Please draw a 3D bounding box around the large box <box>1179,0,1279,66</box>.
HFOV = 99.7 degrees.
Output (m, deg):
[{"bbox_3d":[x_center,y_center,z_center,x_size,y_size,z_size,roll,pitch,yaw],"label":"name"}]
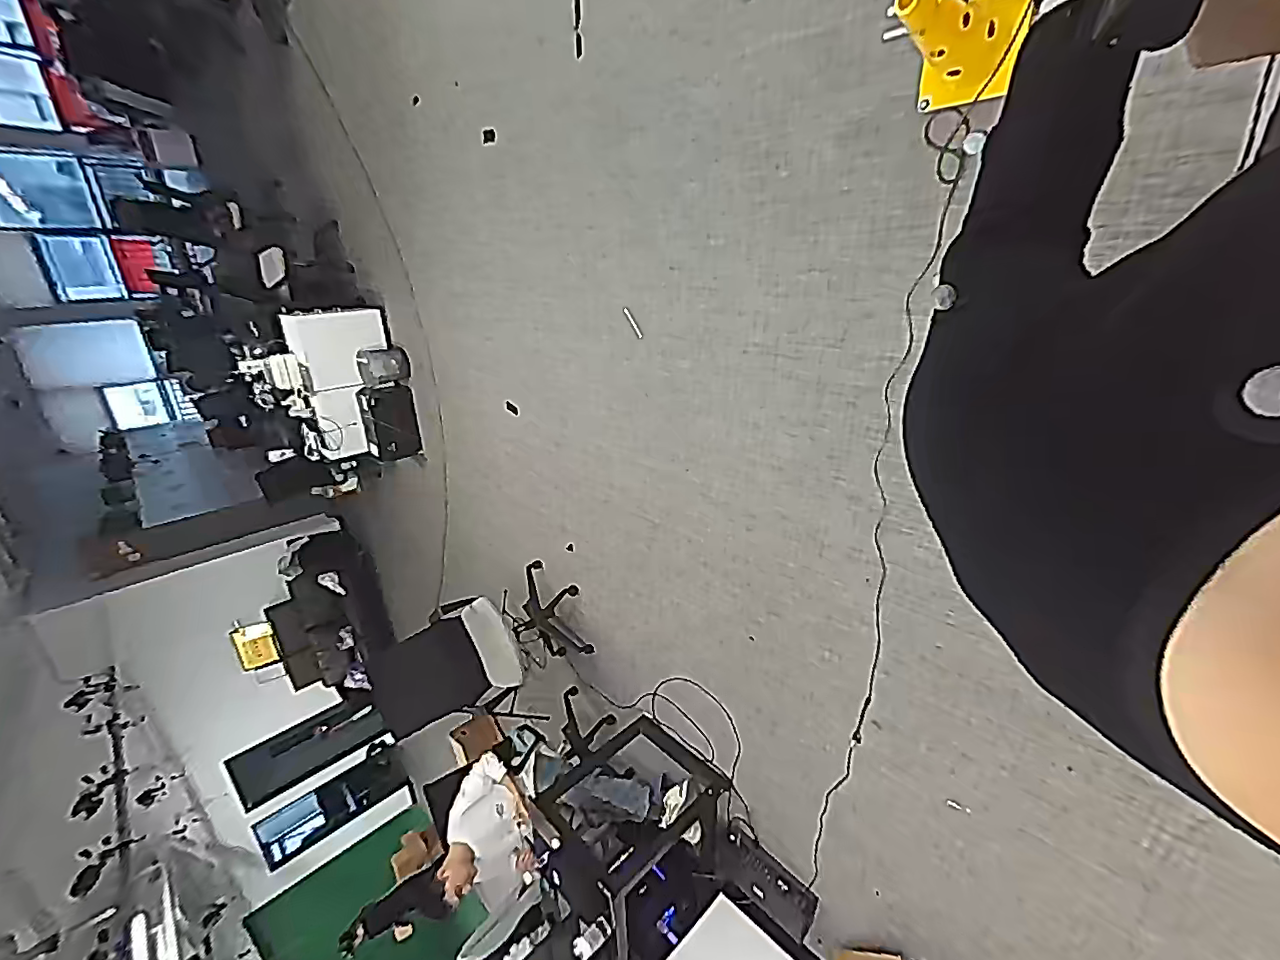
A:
[{"bbox_3d":[0.555,-0.449,0.239,0.408,0.320,0.320,17,121,42],"label":"large box"}]
